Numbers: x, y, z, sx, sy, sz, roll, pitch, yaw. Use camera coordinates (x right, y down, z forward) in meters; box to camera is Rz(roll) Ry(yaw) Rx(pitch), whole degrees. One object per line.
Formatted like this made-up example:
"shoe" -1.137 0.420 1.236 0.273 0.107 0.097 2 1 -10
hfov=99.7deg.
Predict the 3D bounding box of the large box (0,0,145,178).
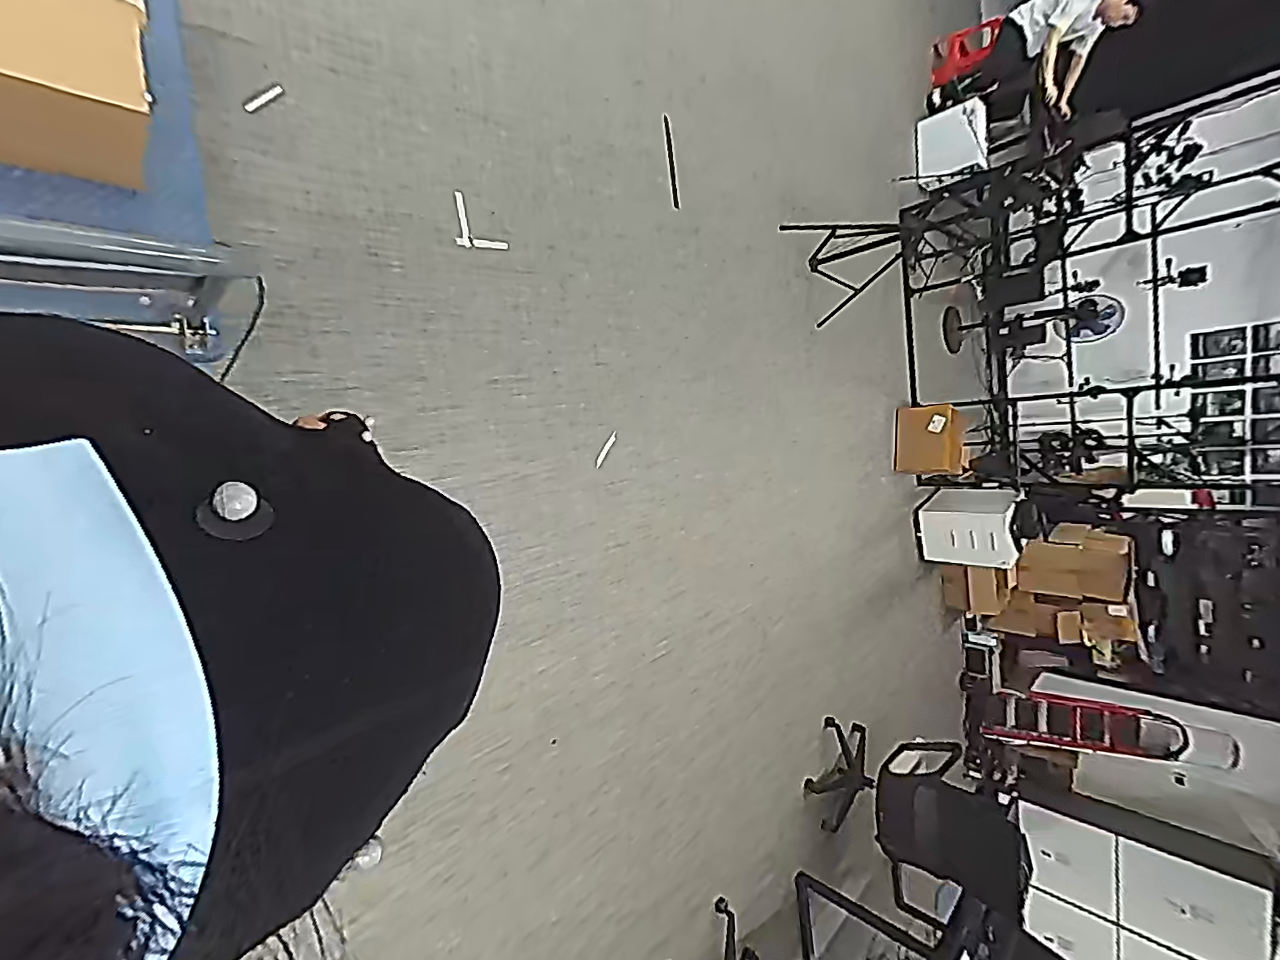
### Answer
"large box" -0.963 -0.671 0.732 0.408 0.320 0.320 -7 94 -42
